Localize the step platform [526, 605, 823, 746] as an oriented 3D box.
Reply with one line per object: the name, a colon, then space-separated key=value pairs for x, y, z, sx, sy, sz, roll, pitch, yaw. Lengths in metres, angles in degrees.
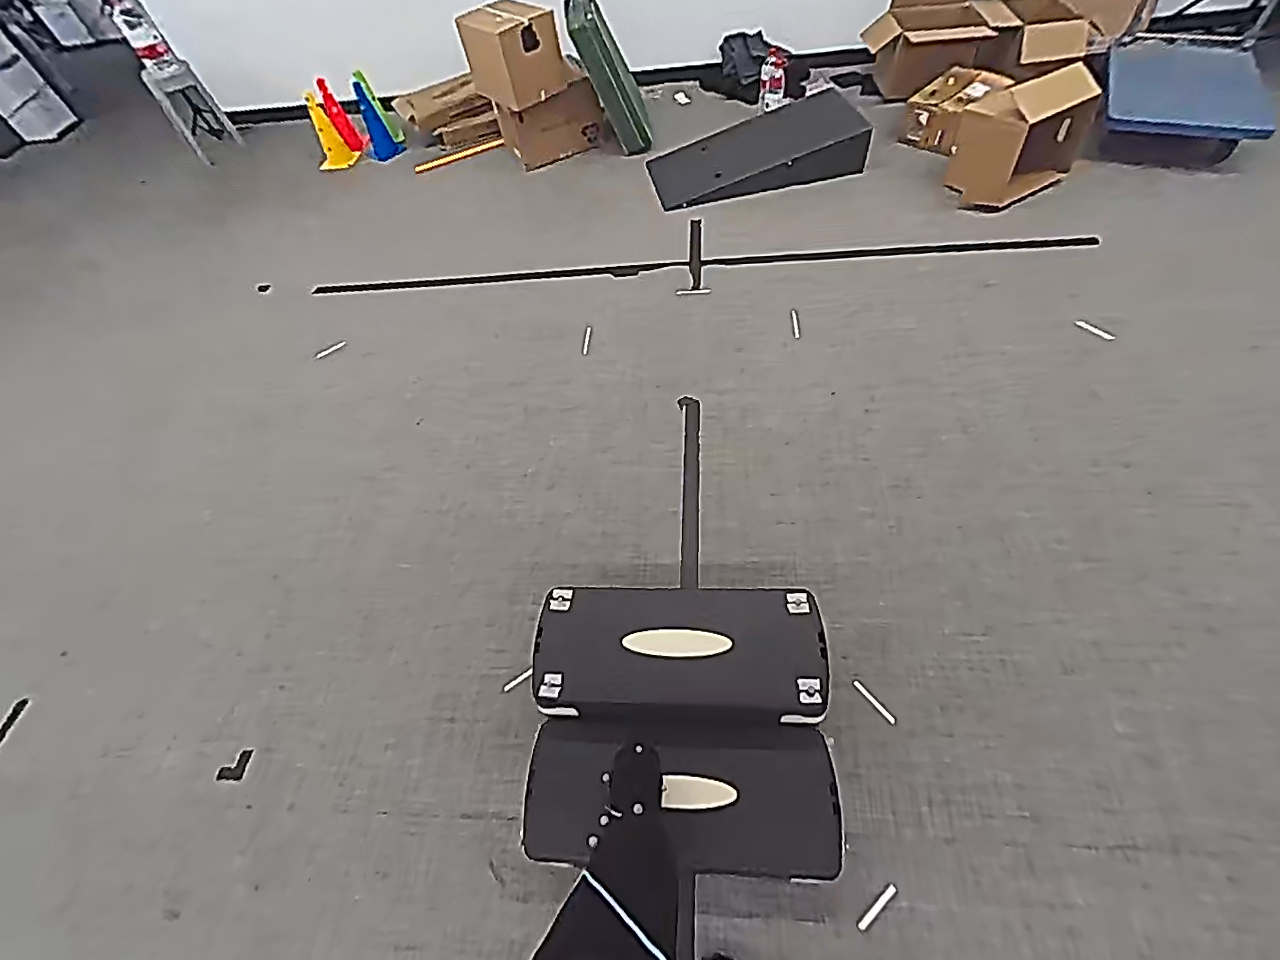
step platform: x=0.076 y=0.460 z=1.293 sx=0.684 sy=0.204 sz=0.286 roll=-1 pitch=56 yaw=5
